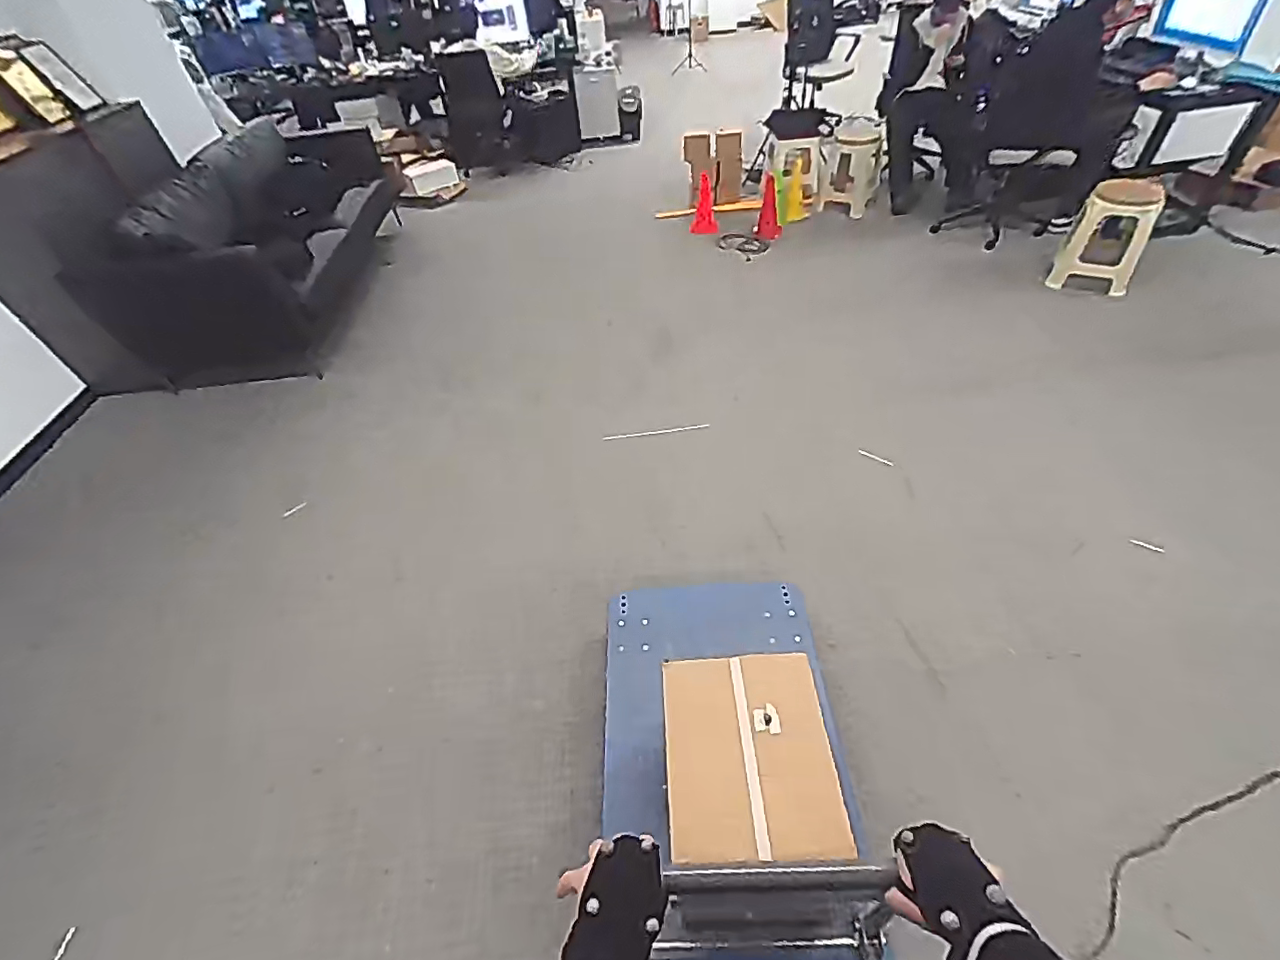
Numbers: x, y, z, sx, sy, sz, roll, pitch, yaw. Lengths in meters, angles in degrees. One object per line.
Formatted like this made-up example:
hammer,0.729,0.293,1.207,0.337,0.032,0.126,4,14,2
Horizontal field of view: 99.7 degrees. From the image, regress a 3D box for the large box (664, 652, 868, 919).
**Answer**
large box,0.226,0.625,1.118,0.320,0.320,0.408,-4,44,2
